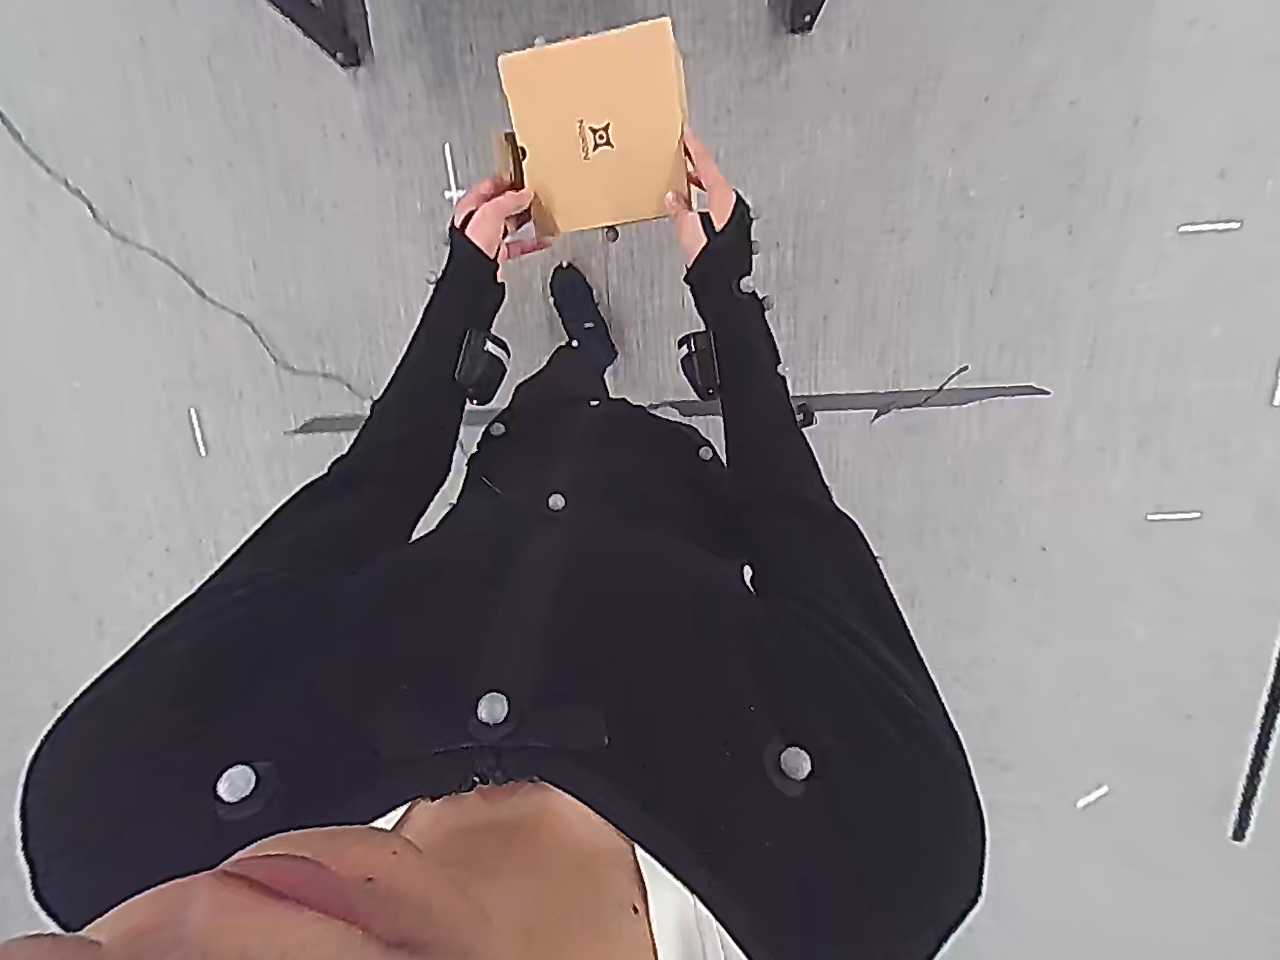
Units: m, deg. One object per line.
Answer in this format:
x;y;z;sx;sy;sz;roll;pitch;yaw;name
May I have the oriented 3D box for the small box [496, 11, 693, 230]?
-0.034;-0.391;0.616;0.179;0.176;0.168;-4;116;13;small box
